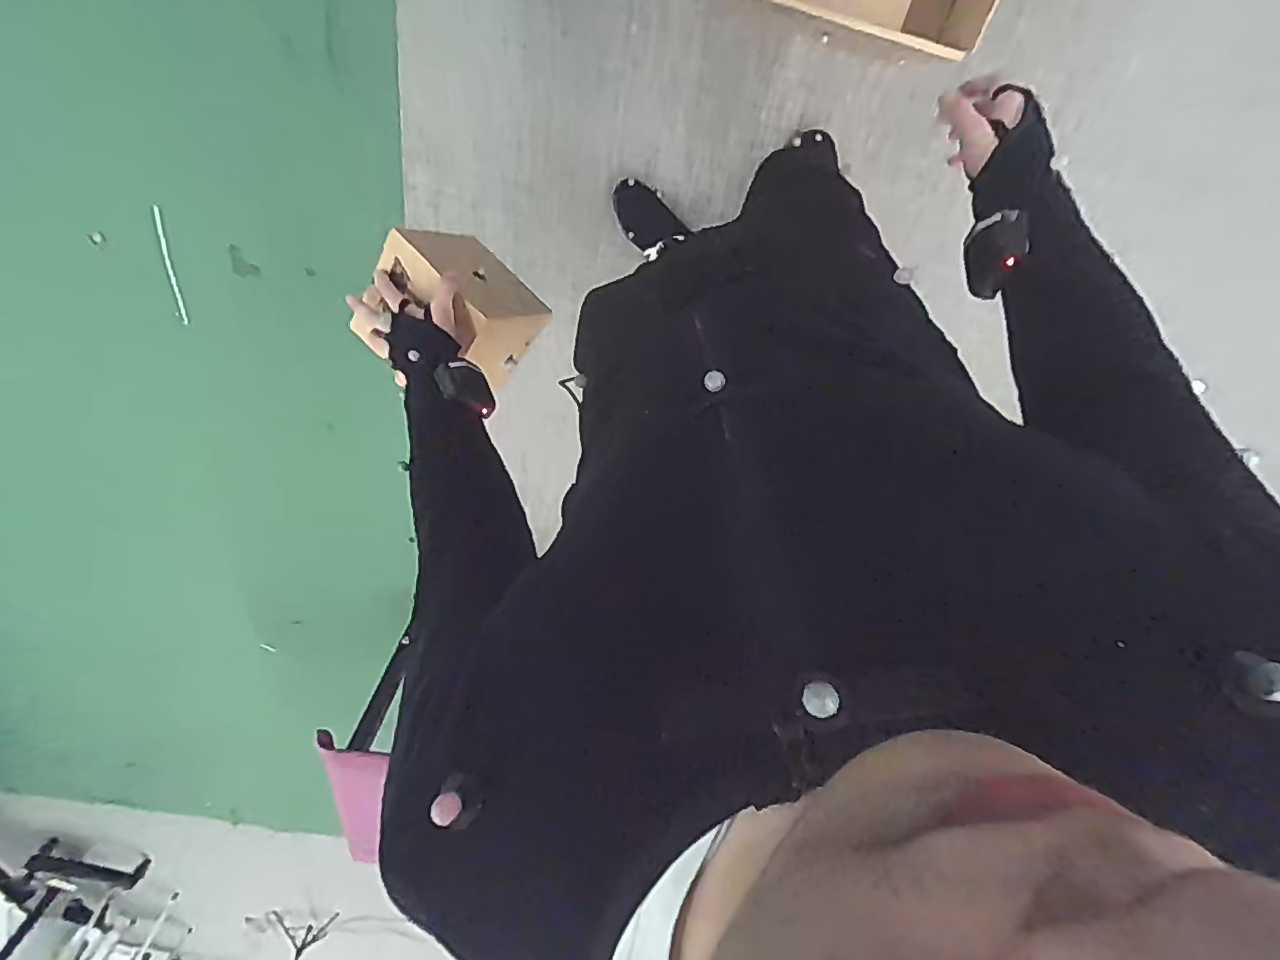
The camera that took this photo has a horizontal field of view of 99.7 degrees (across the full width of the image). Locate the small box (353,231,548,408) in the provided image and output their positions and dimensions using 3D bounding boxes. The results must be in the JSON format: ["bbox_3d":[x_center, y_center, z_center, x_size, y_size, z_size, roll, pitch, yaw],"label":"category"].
[{"bbox_3d":[-0.272,-0.235,0.797,0.179,0.176,0.168,43,119,2],"label":"small box"}]
